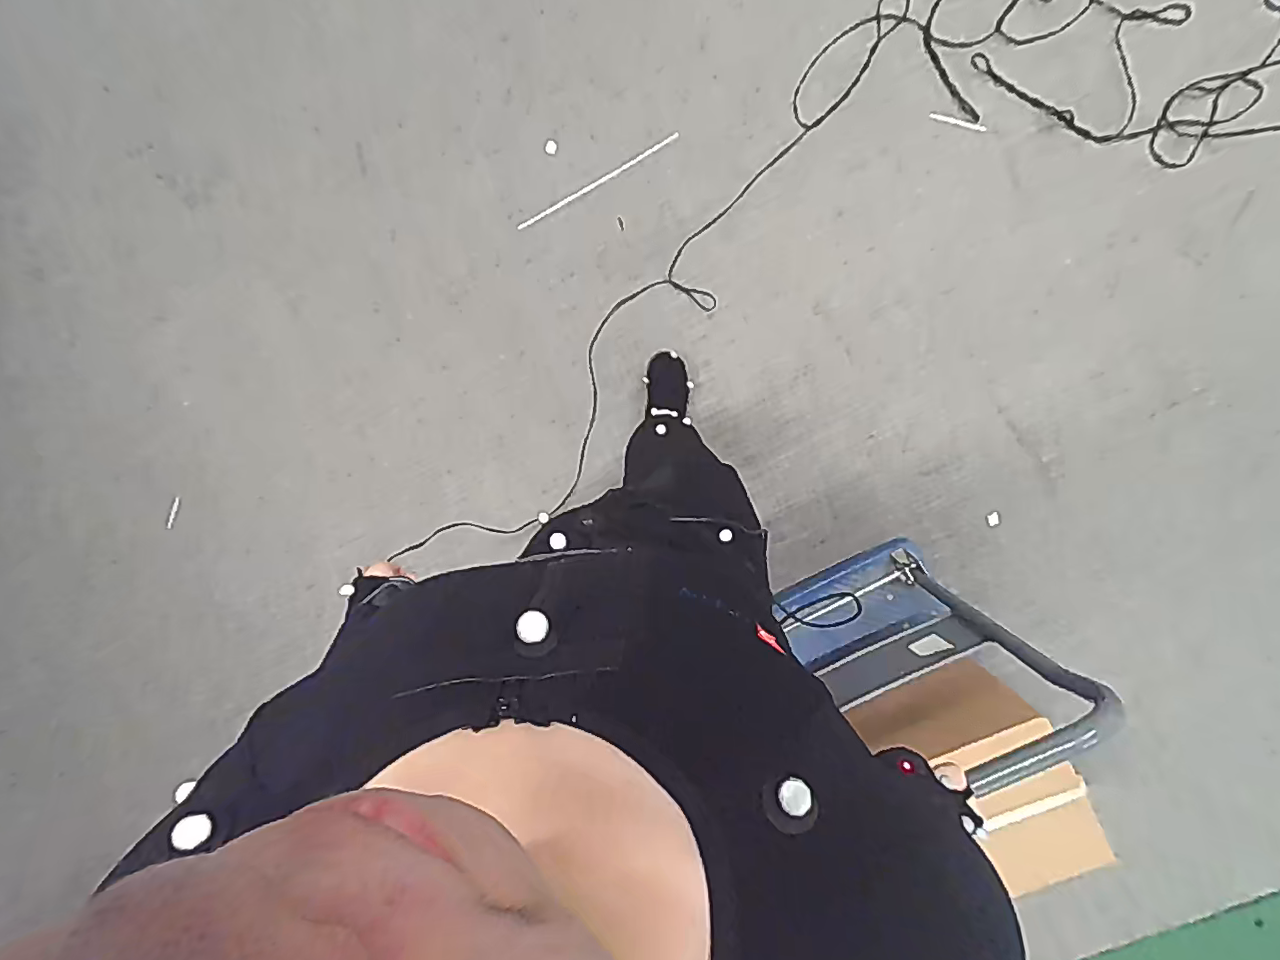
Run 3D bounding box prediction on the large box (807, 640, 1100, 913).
[{"bbox_3d":[0.640,0.616,1.179,0.408,0.320,0.320,-27,91,7],"label":"large box"}]
